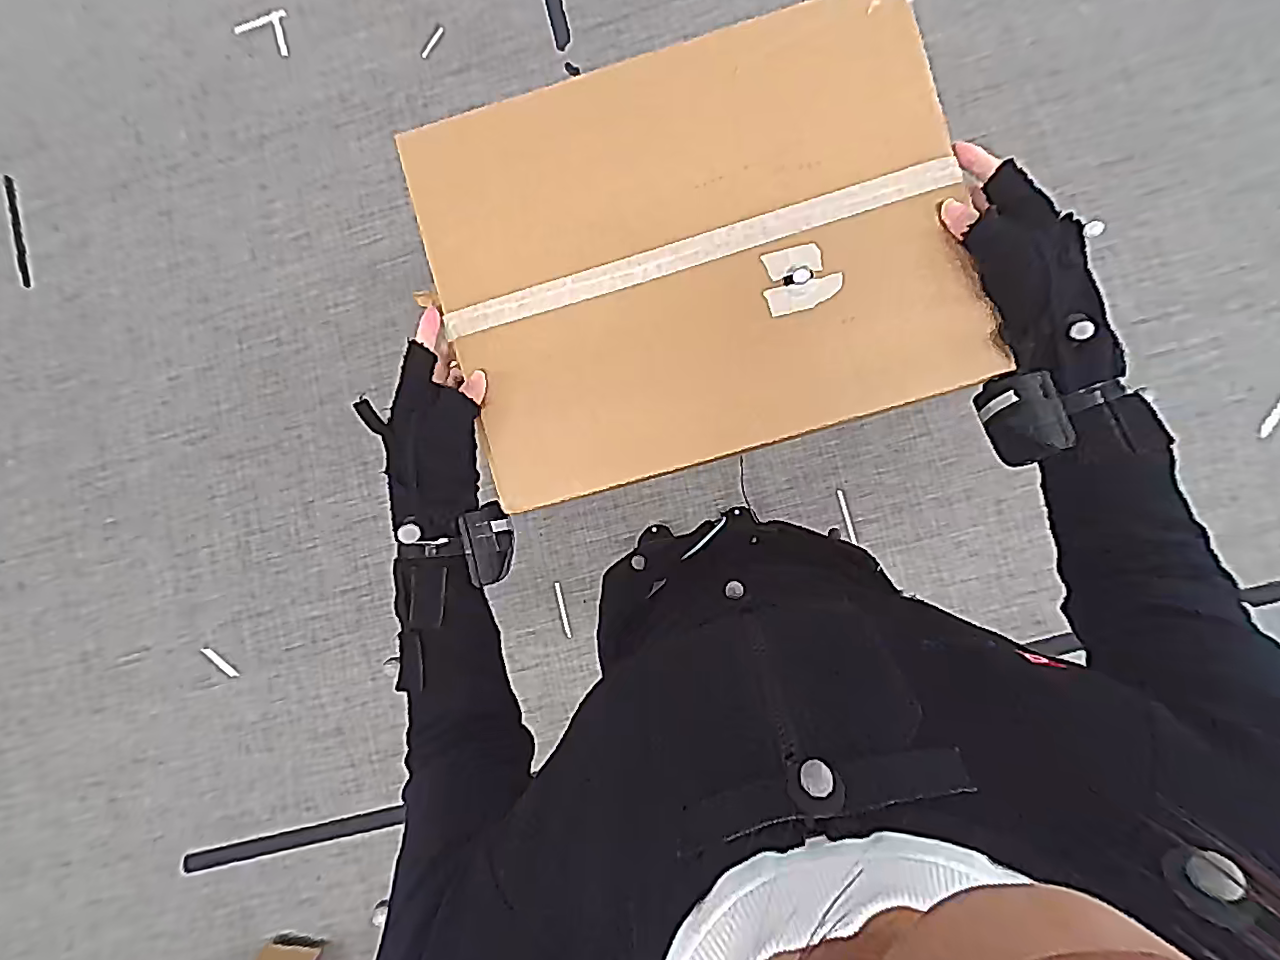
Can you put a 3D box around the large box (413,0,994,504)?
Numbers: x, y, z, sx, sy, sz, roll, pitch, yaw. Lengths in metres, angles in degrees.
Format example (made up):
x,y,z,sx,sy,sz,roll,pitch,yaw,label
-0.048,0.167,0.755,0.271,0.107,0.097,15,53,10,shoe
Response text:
x,y,z,sx,sy,sz,roll,pitch,yaw,label
0.050,-0.182,0.577,0.408,0.320,0.320,-16,91,2,large box
